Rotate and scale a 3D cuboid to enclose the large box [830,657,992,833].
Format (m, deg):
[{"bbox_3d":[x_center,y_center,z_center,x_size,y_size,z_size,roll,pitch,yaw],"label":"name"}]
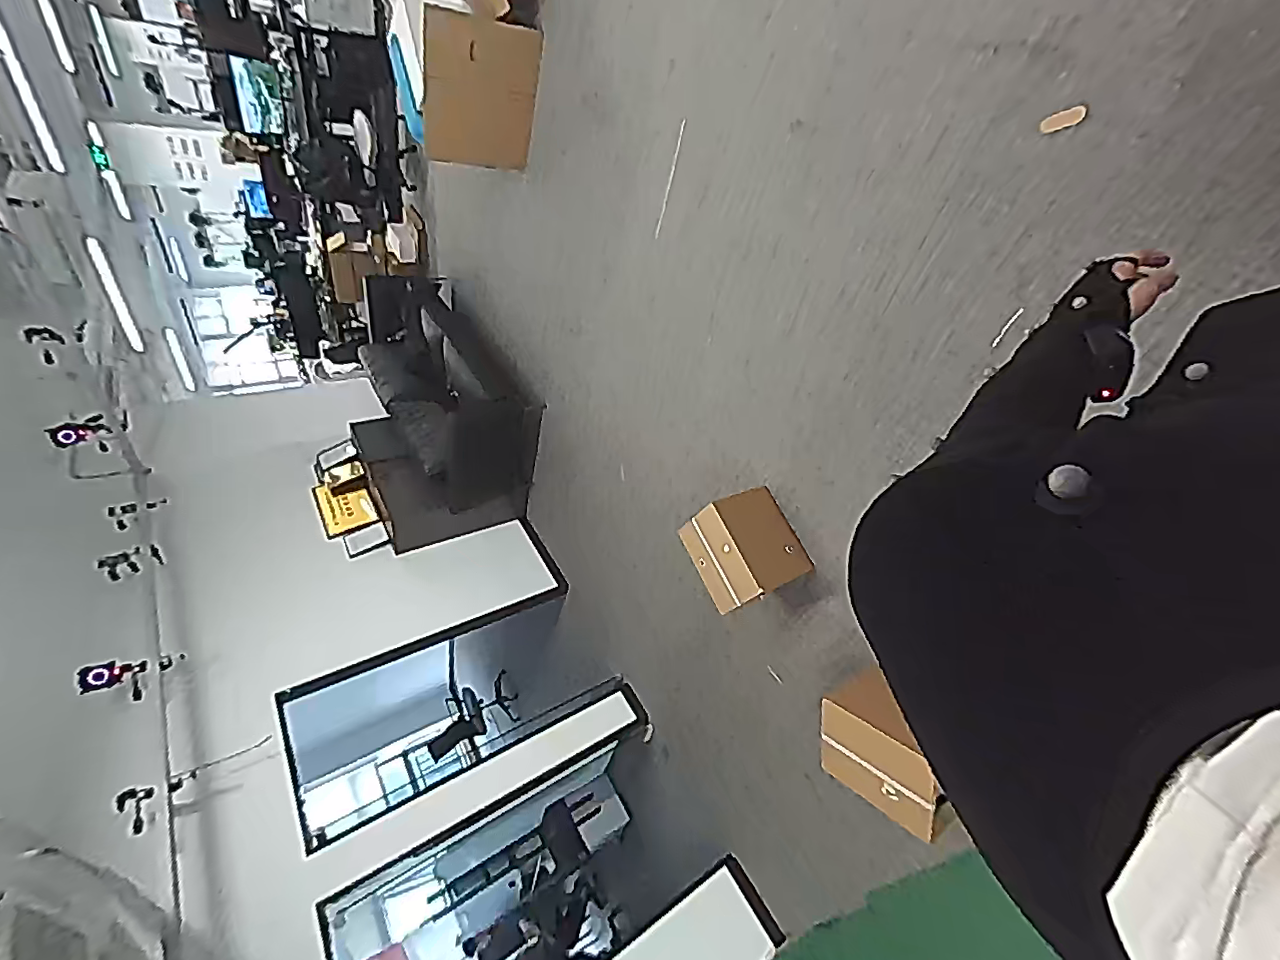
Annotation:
[{"bbox_3d":[0.917,0.879,1.862,0.408,0.320,0.320,16,118,52],"label":"large box"}]
